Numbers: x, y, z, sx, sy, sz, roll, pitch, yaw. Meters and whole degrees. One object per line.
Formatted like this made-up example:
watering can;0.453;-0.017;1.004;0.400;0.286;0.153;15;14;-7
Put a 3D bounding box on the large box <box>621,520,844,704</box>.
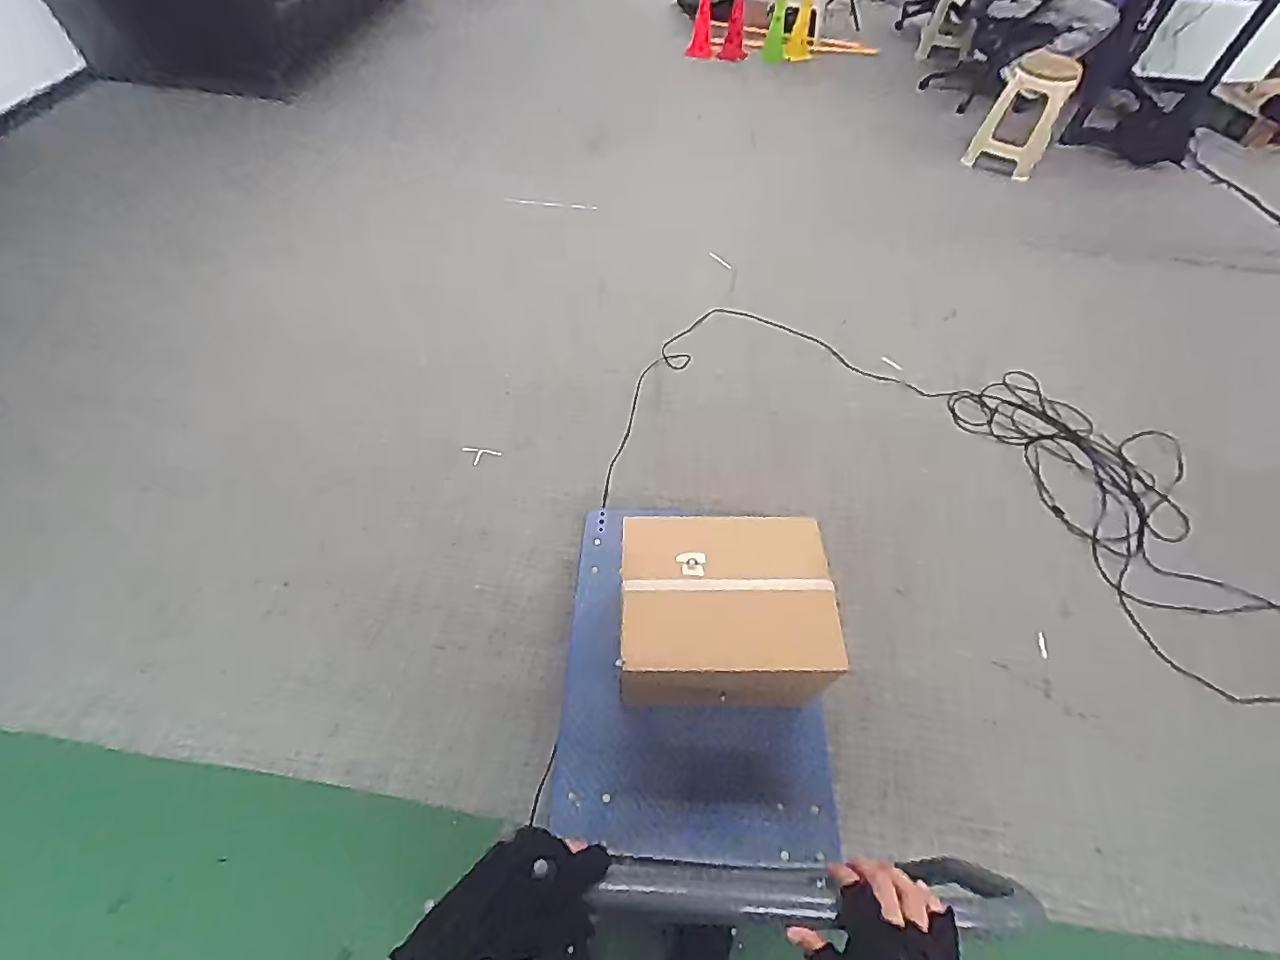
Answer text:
large box;0.164;0.293;1.164;0.408;0.320;0.320;0;56;-1
